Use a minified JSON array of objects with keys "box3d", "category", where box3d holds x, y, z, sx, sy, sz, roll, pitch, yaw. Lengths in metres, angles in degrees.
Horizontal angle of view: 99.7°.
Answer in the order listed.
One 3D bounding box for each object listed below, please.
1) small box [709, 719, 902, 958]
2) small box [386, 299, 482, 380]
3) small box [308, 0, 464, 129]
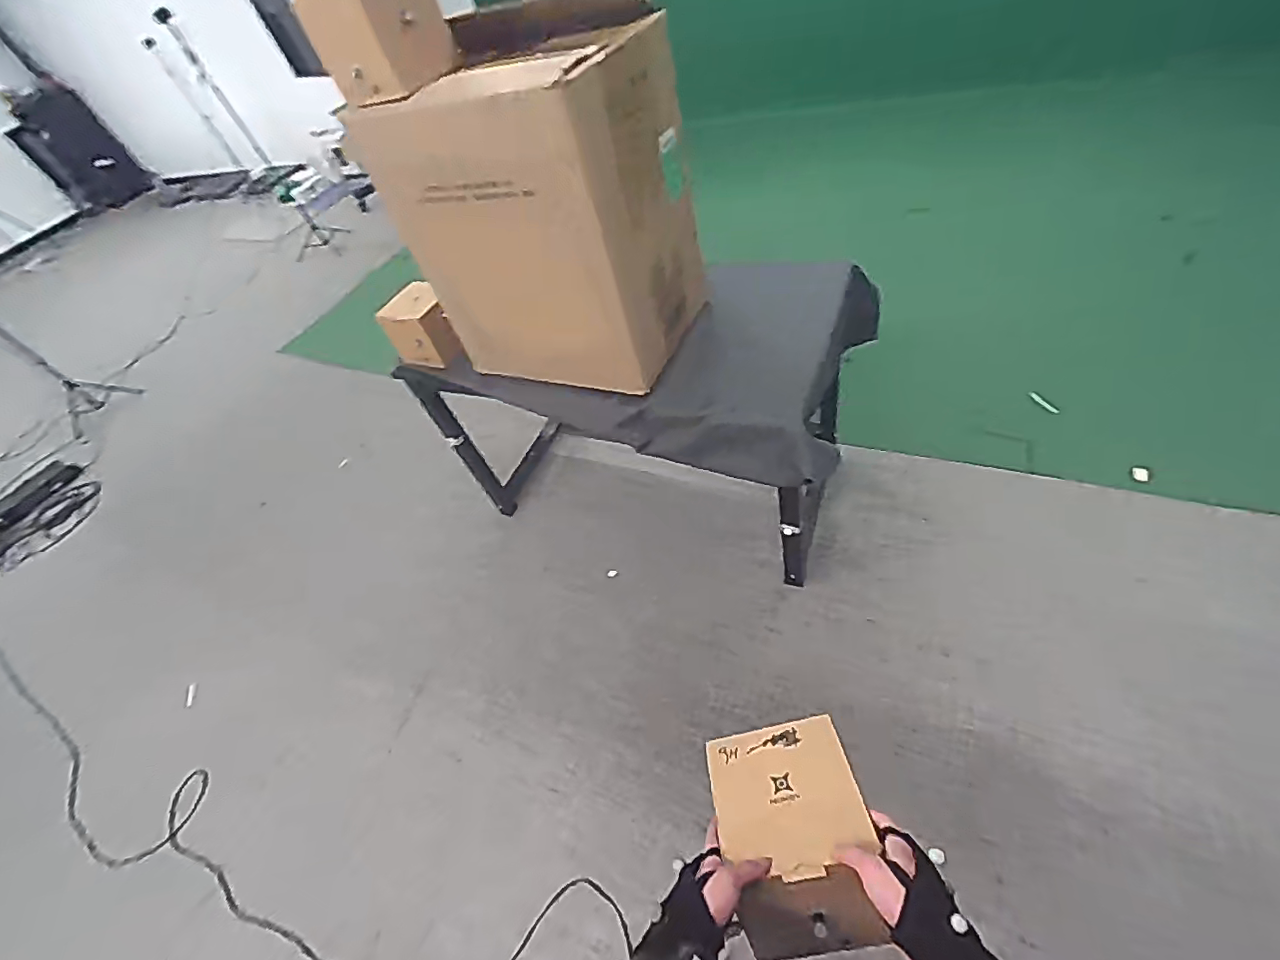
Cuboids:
[{"box3d":[0.195,0.433,0.654,0.168,0.176,0.179,-18,24,6],"category":"small box"},{"box3d":[-0.601,-0.416,1.605,0.168,0.176,0.179,11,51,23],"category":"small box"},{"box3d":[-0.462,-0.792,1.019,0.168,0.176,0.179,11,54,28],"category":"small box"}]
